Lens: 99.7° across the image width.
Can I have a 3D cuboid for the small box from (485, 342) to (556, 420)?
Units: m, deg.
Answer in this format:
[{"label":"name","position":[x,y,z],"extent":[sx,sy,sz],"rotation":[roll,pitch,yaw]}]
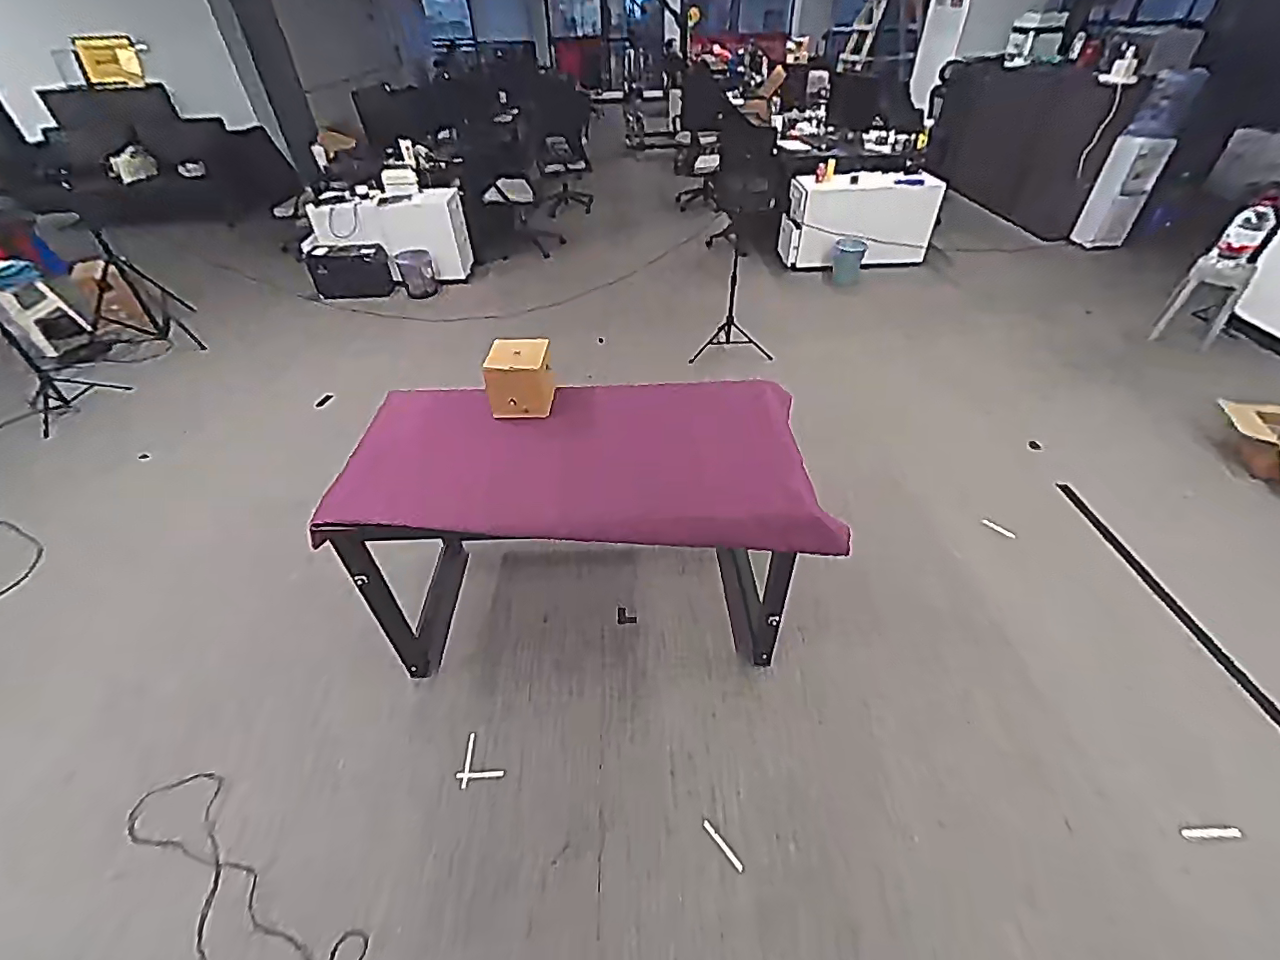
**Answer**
[{"label":"small box","position":[-0.351,-0.299,1.622],"extent":[0.168,0.176,0.179],"rotation":[0,42,1]}]
